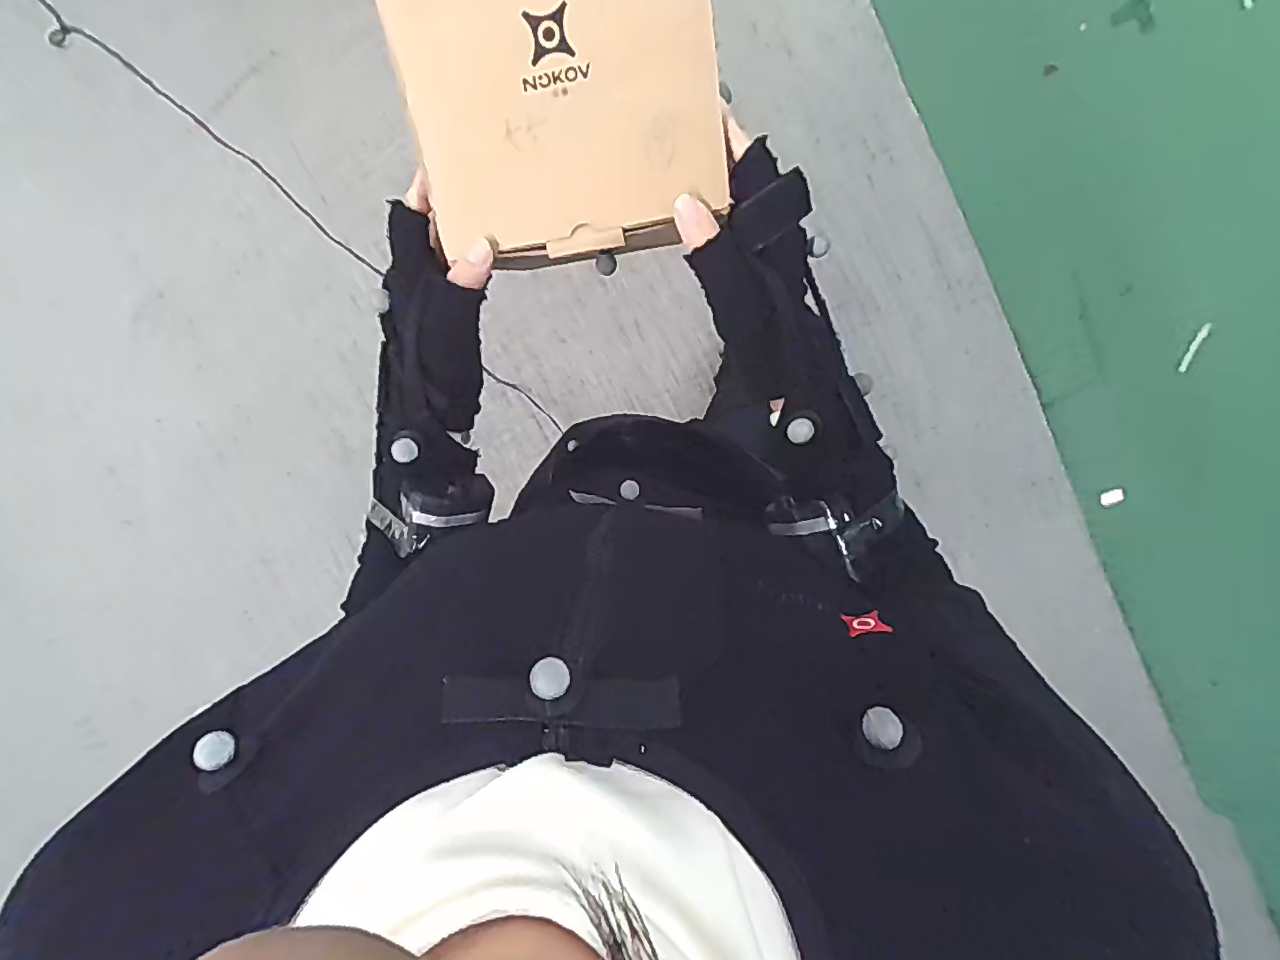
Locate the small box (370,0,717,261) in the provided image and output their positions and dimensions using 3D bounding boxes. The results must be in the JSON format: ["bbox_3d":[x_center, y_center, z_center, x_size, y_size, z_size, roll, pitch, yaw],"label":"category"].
[{"bbox_3d":[-0.043,-0.248,0.350,0.168,0.176,0.179,-8,111,7],"label":"small box"}]
